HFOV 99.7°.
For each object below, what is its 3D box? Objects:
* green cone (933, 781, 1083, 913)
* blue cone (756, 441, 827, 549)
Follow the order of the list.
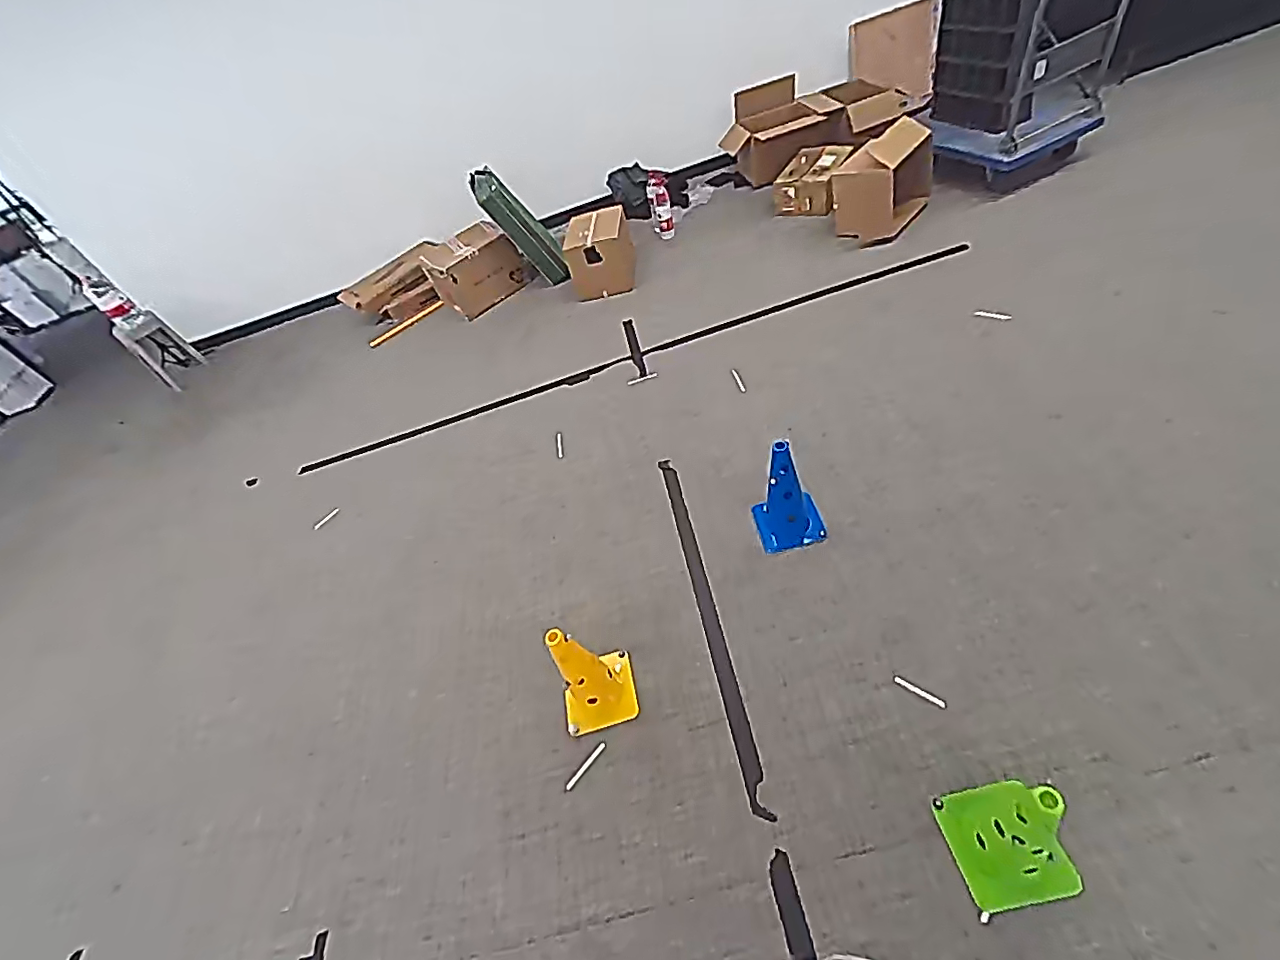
[{"bbox_3d":[0.688,0.619,0.965,0.202,0.368,0.200,-16,45,4],"label":"green cone"},{"bbox_3d":[0.440,0.026,1.623,0.192,0.380,0.193,-14,46,6],"label":"blue cone"}]
